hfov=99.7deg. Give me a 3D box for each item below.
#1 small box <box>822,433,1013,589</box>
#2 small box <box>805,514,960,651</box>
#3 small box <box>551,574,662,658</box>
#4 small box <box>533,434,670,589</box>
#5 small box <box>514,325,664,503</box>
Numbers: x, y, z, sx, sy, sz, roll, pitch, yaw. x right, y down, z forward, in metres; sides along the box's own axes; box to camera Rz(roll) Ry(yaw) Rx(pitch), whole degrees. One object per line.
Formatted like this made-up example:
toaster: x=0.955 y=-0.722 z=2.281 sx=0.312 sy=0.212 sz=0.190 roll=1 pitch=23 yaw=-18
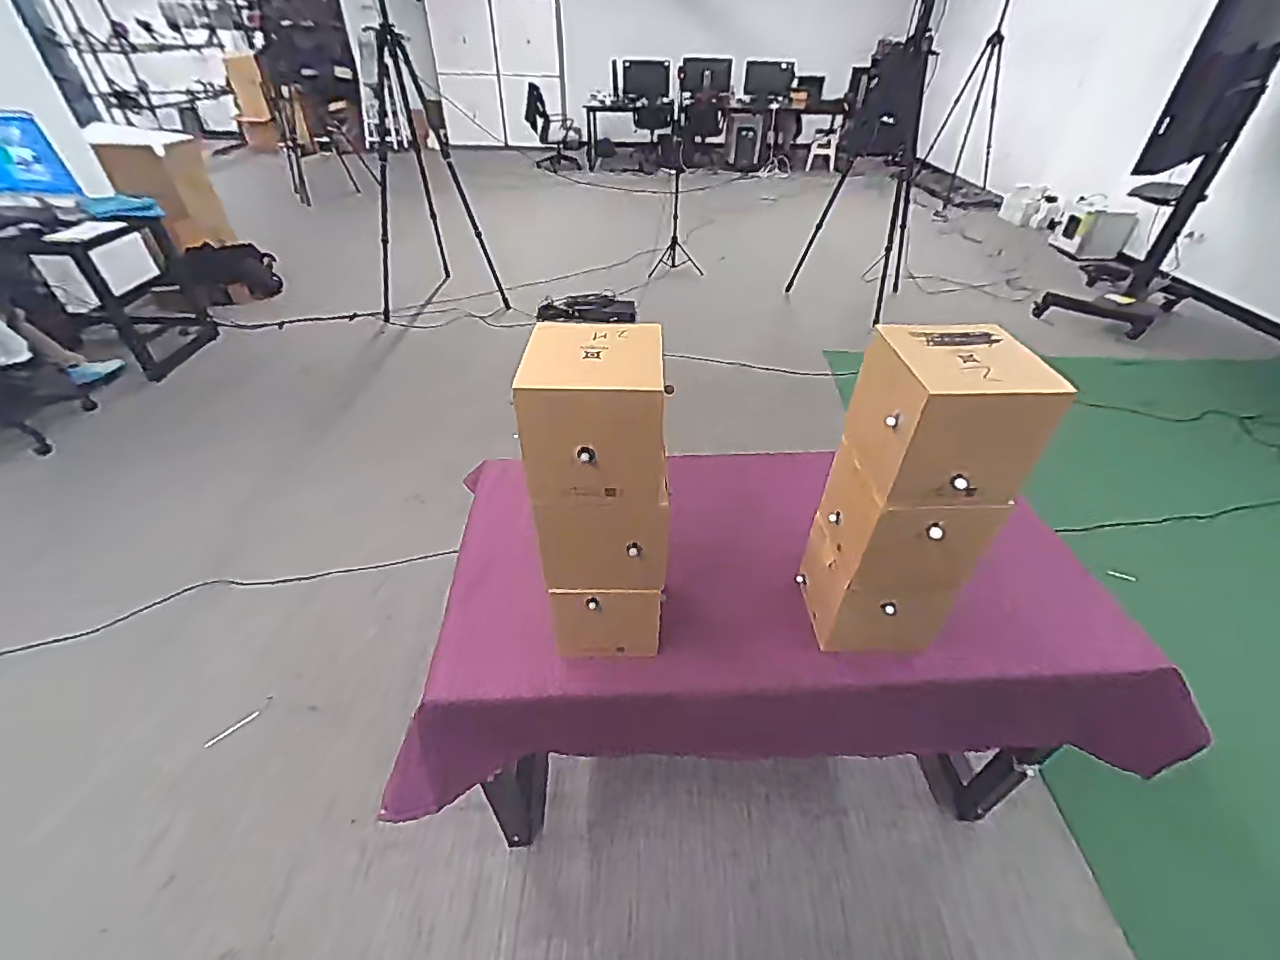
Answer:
small box: x=0.391 y=0.046 z=0.801 sx=0.179 sy=0.176 sz=0.168 roll=-1 pitch=40 yaw=-1
small box: x=0.387 y=0.171 z=0.905 sx=0.179 sy=0.176 sz=0.168 roll=0 pitch=40 yaw=-1
small box: x=-0.050 y=0.171 z=0.901 sx=0.168 sy=0.176 sz=0.179 roll=0 pitch=39 yaw=0
small box: x=-0.048 y=0.045 z=0.797 sx=0.179 sy=0.176 sz=0.168 roll=1 pitch=39 yaw=1
small box: x=-0.053 y=-0.085 z=0.696 sx=0.168 sy=0.176 sz=0.179 roll=2 pitch=39 yaw=1
